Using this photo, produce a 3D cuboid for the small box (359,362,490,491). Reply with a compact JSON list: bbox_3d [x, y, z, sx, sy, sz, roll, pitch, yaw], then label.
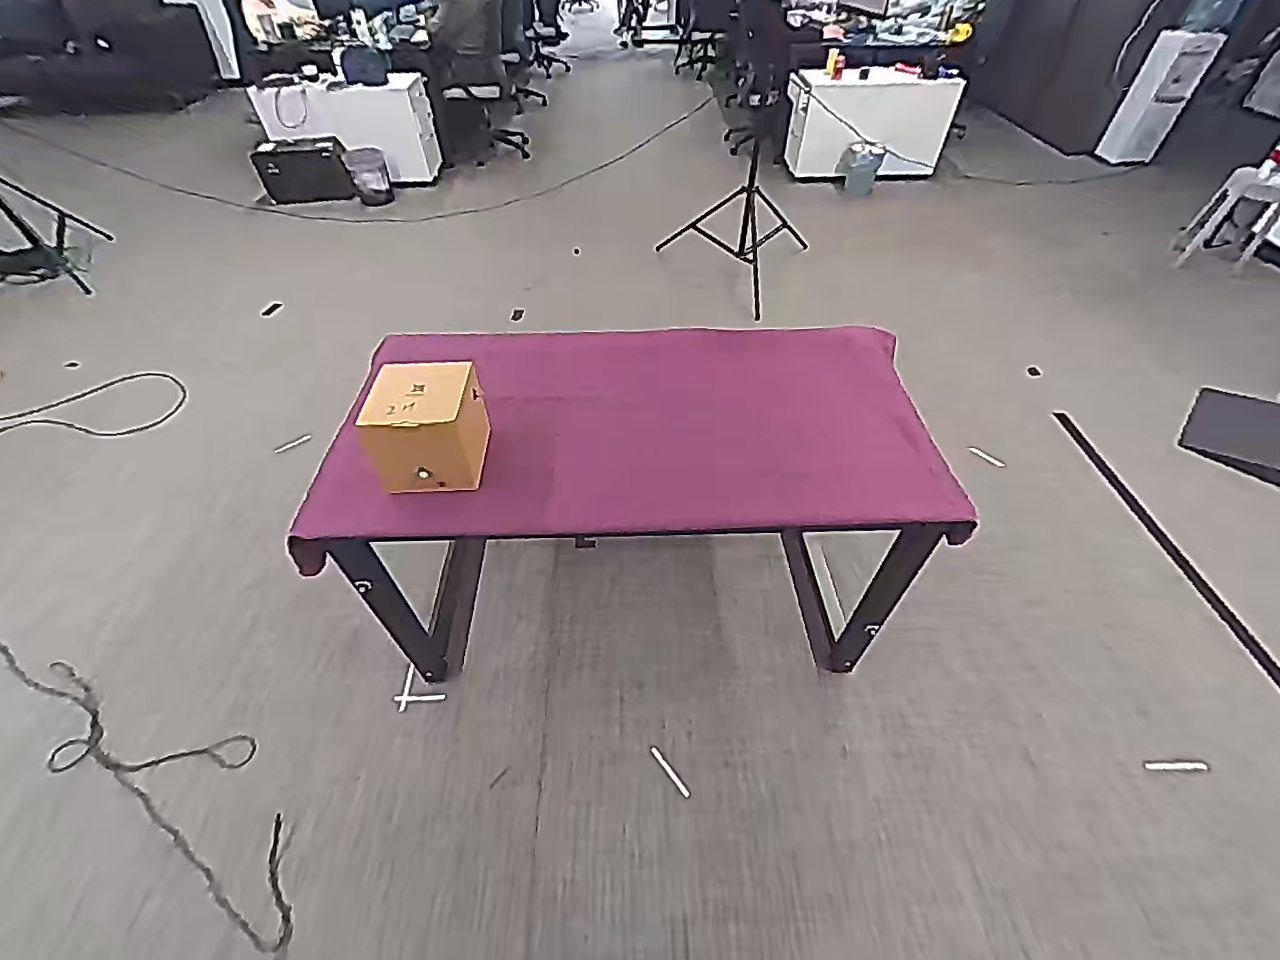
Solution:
[{"bbox_3d":[-0.384,-0.098,1.002,0.168,0.176,0.179,-3,47,-1],"label":"small box"}]
